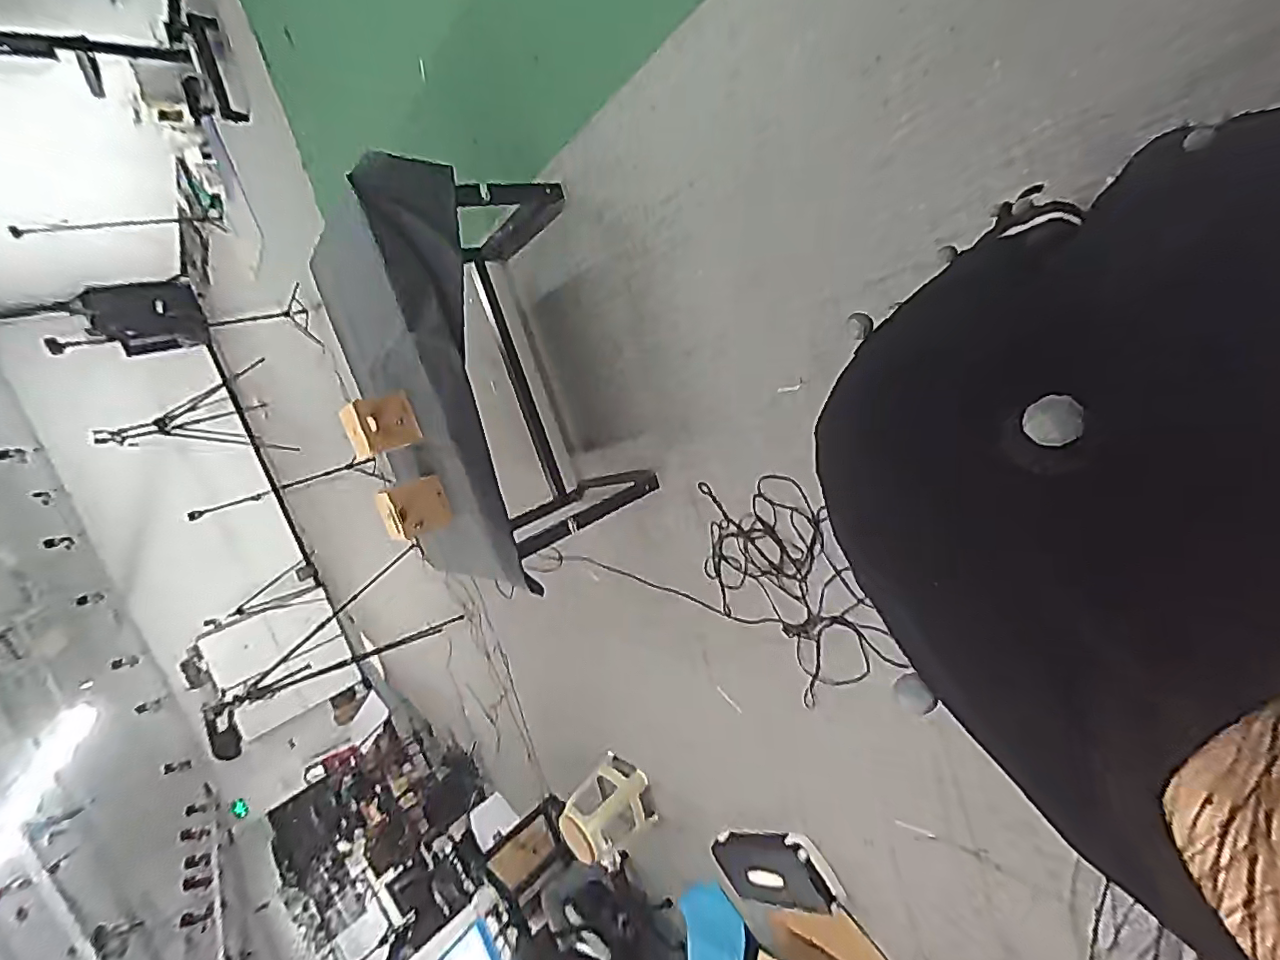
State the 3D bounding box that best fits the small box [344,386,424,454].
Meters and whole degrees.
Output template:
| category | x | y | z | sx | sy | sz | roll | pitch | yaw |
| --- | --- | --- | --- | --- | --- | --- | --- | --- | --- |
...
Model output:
| category | x | y | z | sx | sy | sz | roll | pitch | yaw |
| --- | --- | --- | --- | --- | --- | --- | --- | --- | --- |
| small box | -0.823 | -0.193 | 1.743 | 0.179 | 0.176 | 0.168 | -7 | 104 | 50 |
